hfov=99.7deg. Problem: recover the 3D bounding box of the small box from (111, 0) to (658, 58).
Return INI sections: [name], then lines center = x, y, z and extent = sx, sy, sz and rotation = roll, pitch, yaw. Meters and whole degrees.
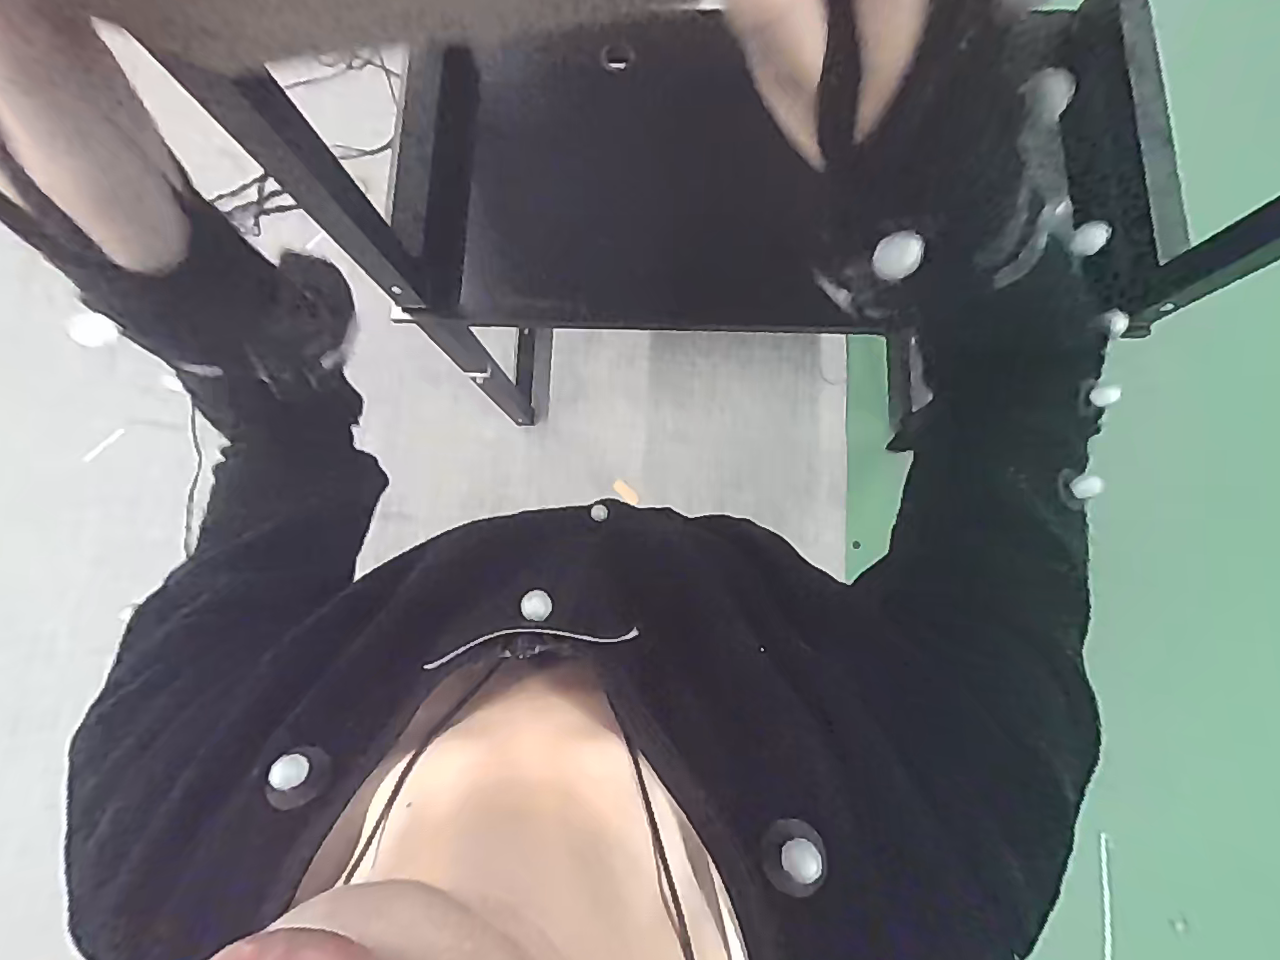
[small box]
center = -0.060, -0.198, 0.089
extent = 0.179, 0.176, 0.168
rotation = -9, 117, 0
